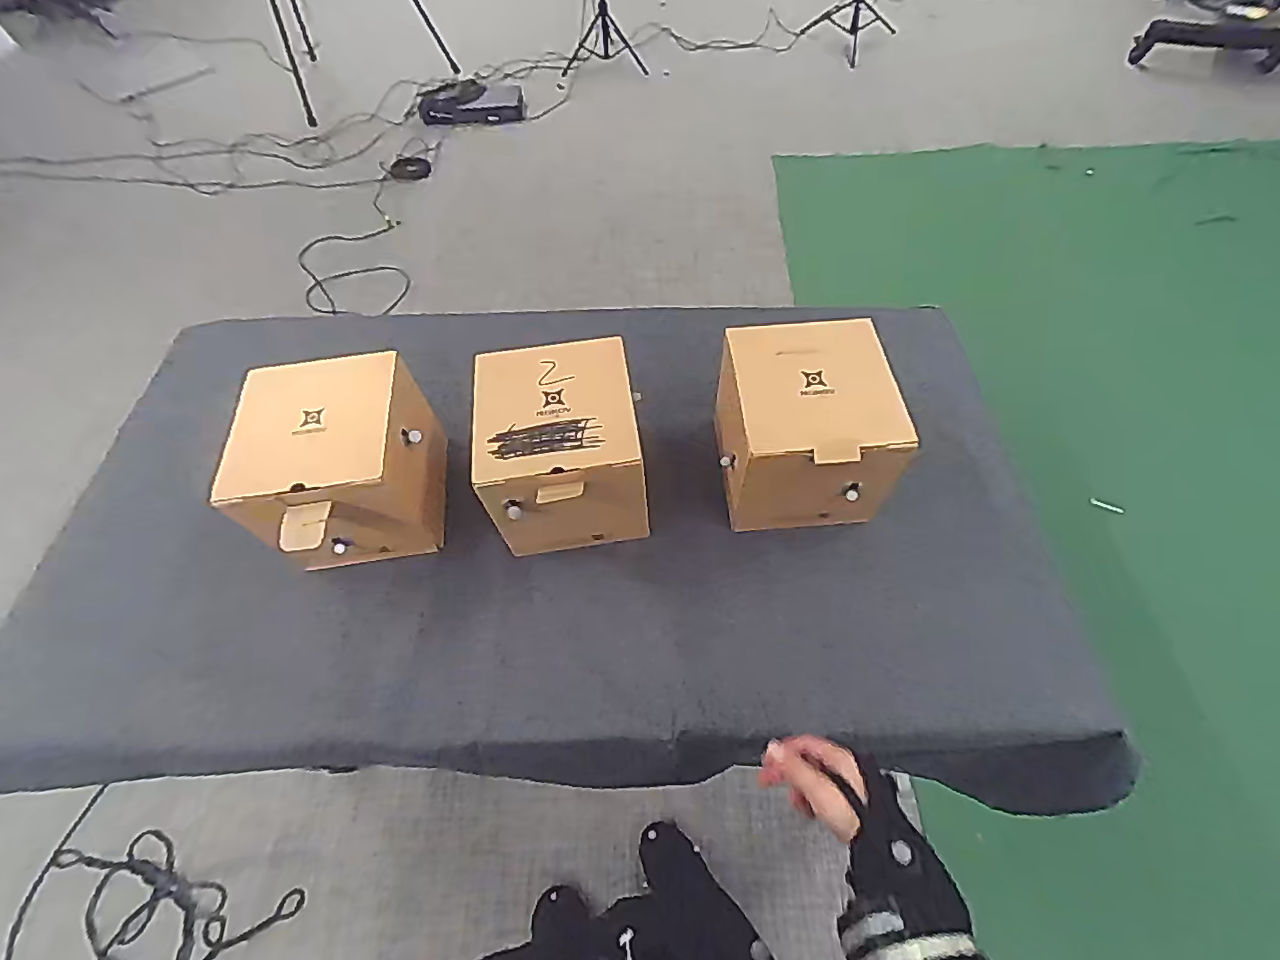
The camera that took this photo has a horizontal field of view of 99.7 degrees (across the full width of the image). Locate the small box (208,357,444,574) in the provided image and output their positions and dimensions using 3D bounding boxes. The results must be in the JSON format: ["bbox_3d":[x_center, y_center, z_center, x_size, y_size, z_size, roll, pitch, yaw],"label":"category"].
[{"bbox_3d":[-0.337,-0.012,0.625,0.168,0.176,0.179,-9,59,-3],"label":"small box"}]

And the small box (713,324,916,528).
[{"bbox_3d":[0.182,-0.053,0.627,0.168,0.176,0.179,-5,58,-1],"label":"small box"}]
